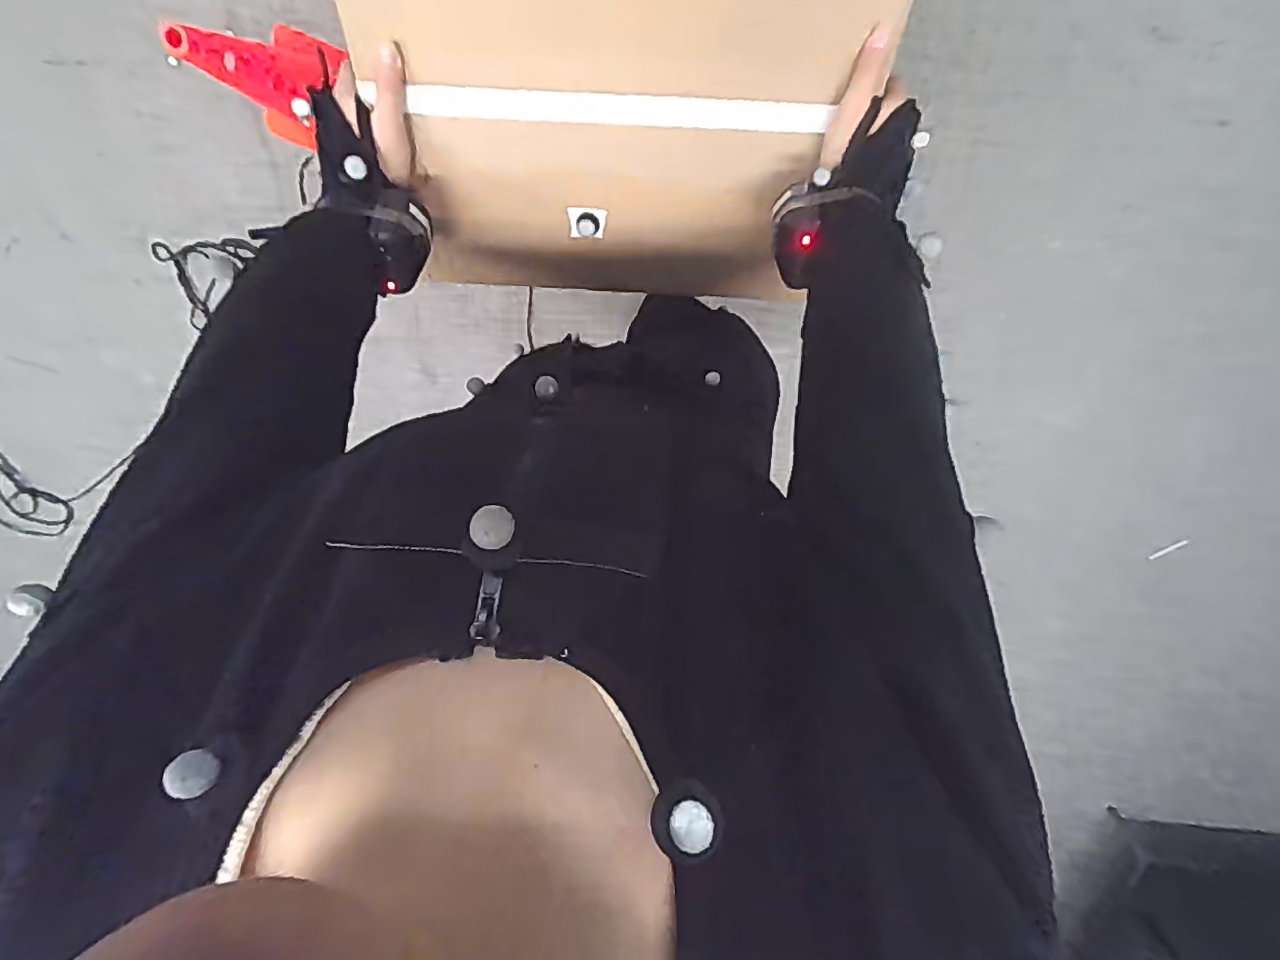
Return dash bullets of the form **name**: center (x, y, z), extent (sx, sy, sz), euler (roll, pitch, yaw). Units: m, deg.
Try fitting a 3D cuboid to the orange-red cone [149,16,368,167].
- **orange-red cone**: center (-0.682, -0.713, 0.947), extent (0.199, 0.360, 0.198), euler (23, 111, -4)
